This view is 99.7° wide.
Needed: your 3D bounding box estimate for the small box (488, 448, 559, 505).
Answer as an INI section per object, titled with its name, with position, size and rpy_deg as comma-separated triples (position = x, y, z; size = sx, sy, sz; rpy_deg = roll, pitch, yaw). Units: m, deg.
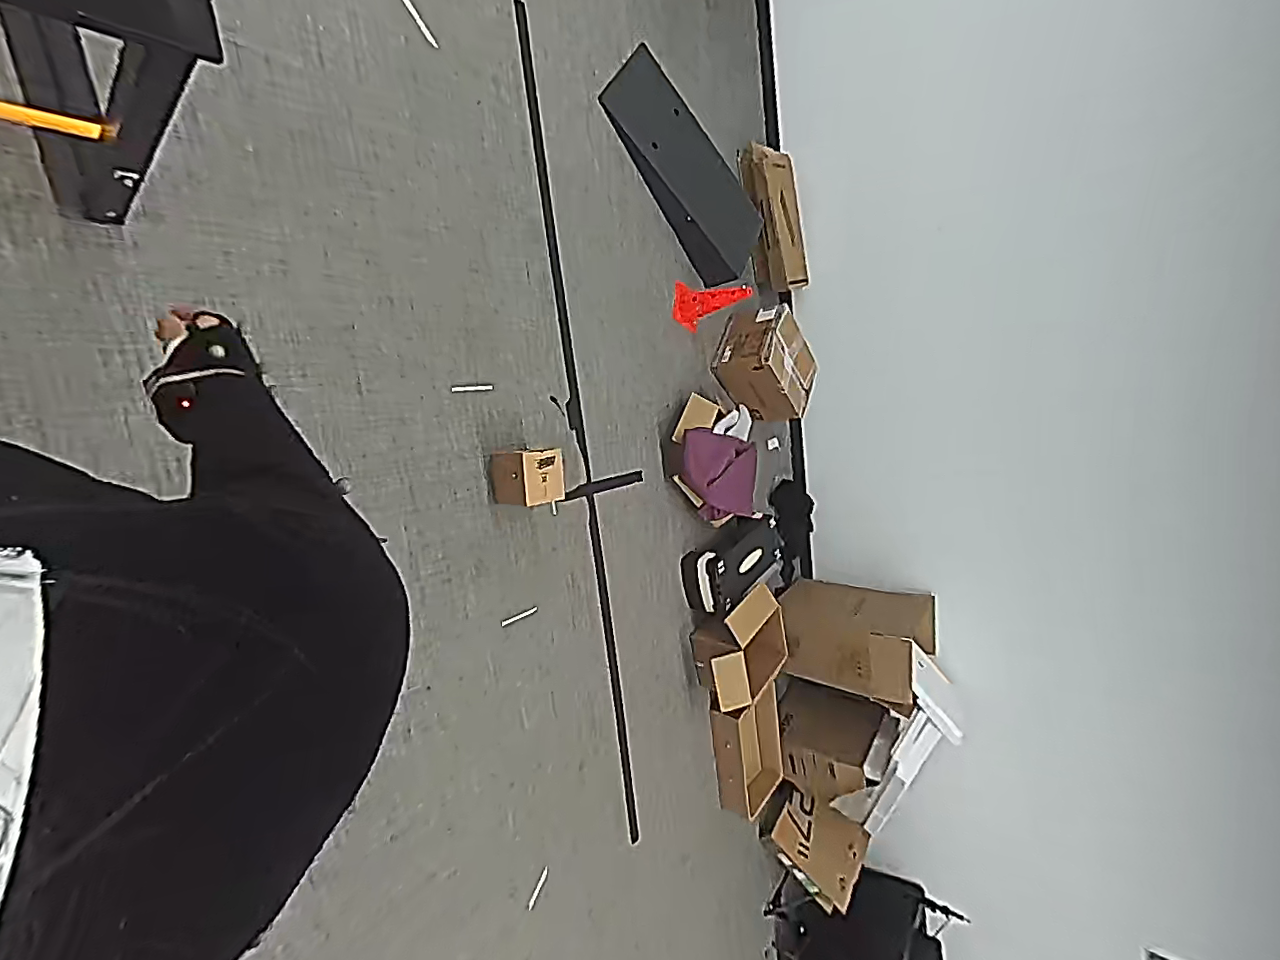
[small box]
position = -0.394, -0.012, 1.819
size = 0.168, 0.176, 0.179
rpy_deg = -10, 99, -50
